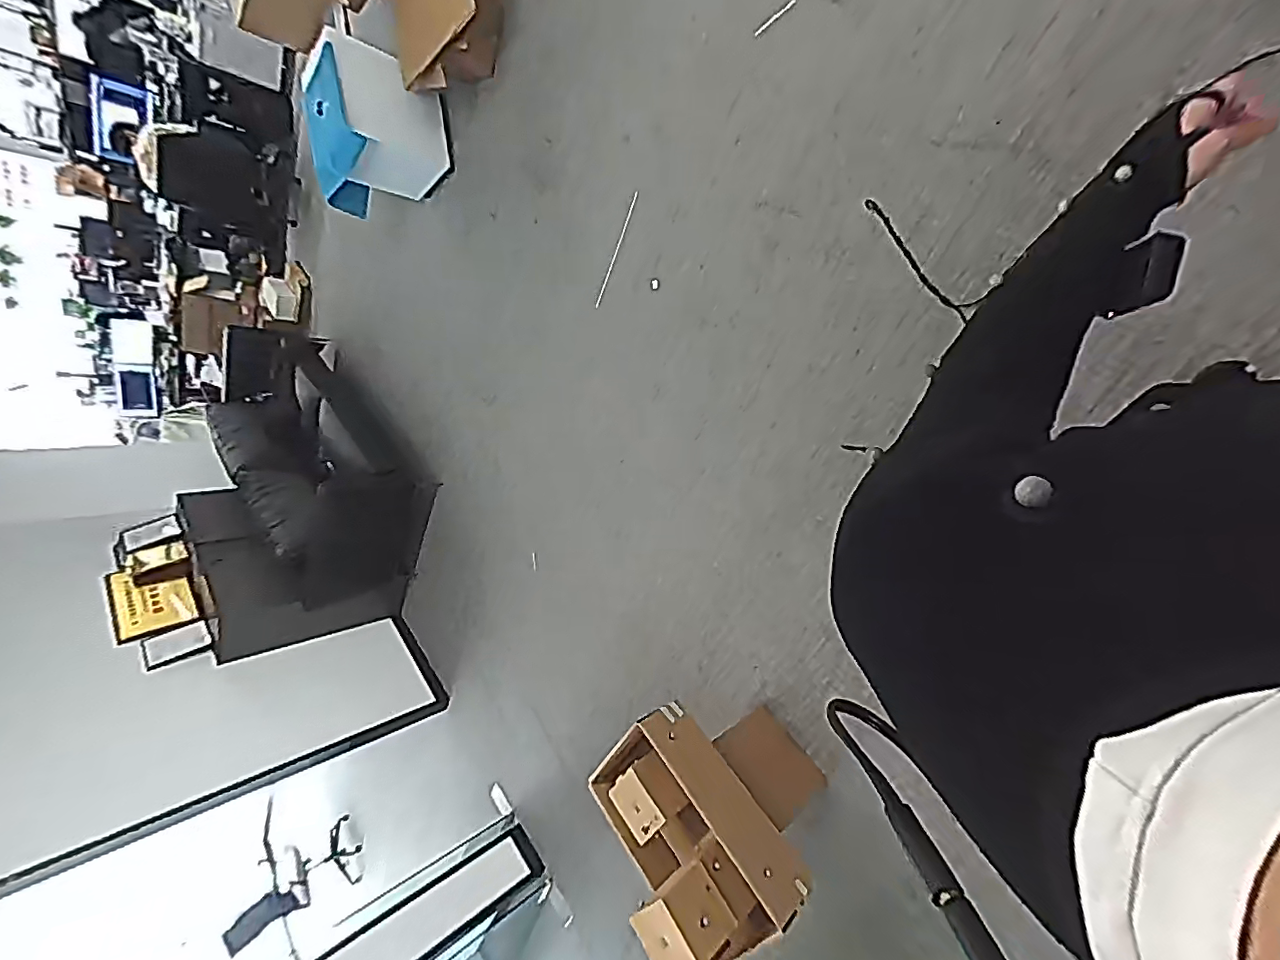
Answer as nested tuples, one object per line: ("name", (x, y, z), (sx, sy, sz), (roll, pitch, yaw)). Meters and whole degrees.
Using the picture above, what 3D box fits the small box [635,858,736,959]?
("small box", (0.124, 1.131, 1.402), (0.168, 0.176, 0.179), (51, 126, 26))
